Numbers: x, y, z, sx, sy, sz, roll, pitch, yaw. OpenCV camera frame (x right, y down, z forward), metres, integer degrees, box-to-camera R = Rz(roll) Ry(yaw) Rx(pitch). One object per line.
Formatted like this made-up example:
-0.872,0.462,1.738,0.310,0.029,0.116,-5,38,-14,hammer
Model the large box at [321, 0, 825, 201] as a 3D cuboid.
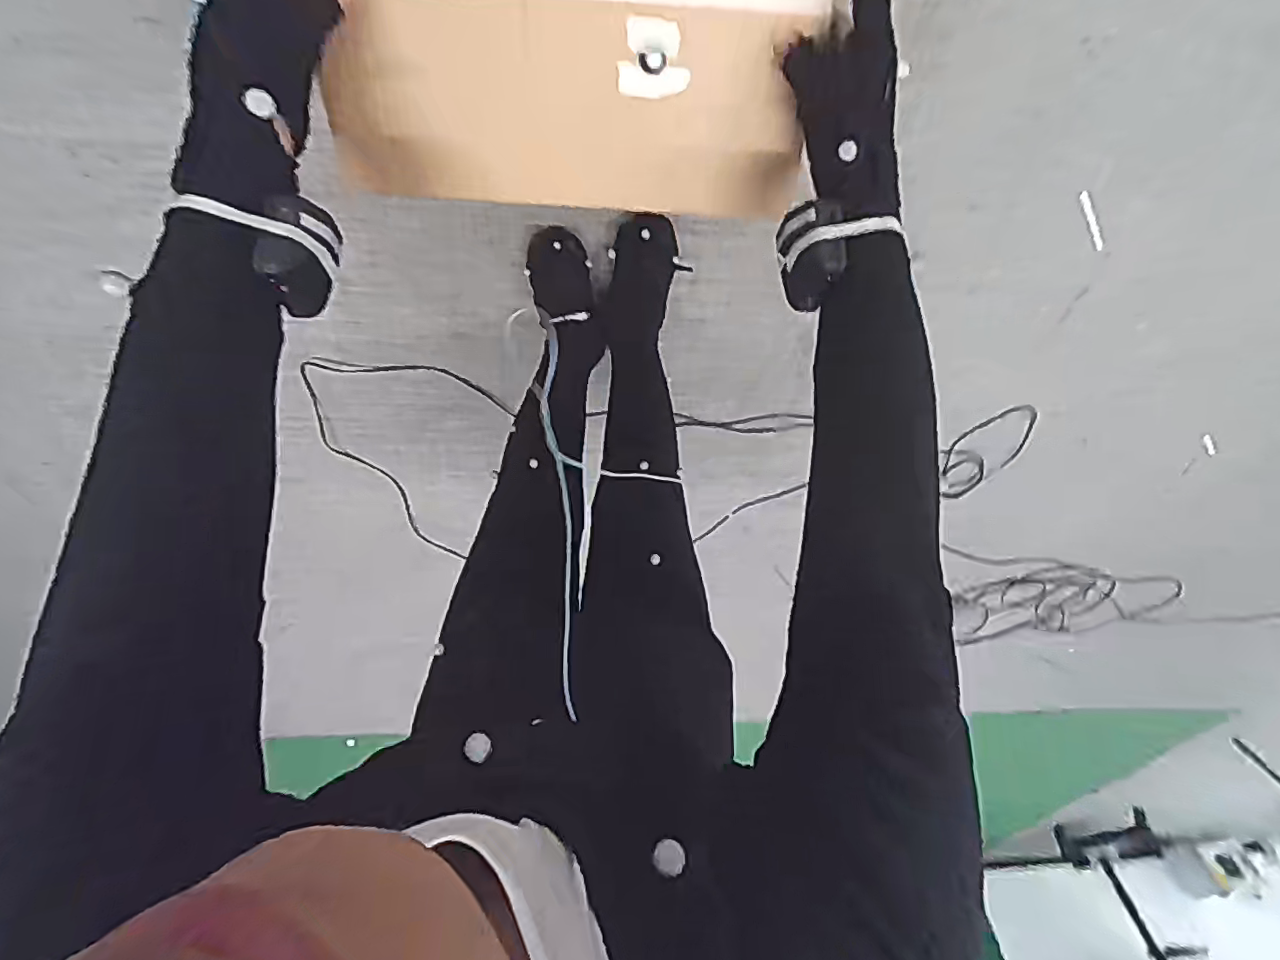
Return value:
-0.056,-0.480,0.534,0.408,0.320,0.320,1,128,-4,large box
